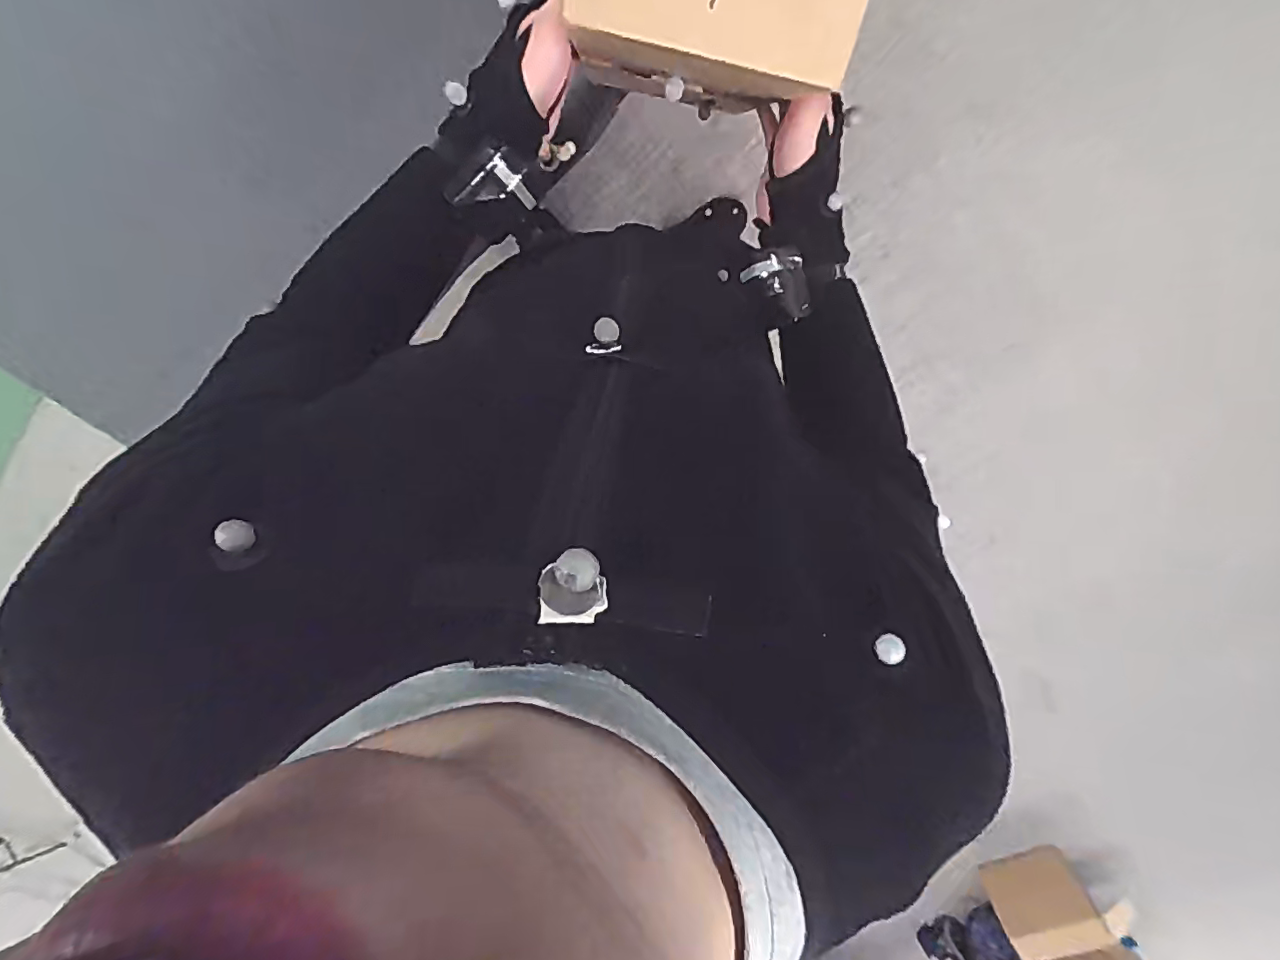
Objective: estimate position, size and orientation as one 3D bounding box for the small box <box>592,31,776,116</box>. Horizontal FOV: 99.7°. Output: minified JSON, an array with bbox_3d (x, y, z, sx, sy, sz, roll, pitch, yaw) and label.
[{"bbox_3d":[0.055,-0.442,0.478,0.168,0.176,0.179,8,121,-8],"label":"small box"}]

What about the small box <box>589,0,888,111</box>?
[{"bbox_3d":[0.063,-0.354,0.338,0.168,0.176,0.179,9,123,-8],"label":"small box"}]
